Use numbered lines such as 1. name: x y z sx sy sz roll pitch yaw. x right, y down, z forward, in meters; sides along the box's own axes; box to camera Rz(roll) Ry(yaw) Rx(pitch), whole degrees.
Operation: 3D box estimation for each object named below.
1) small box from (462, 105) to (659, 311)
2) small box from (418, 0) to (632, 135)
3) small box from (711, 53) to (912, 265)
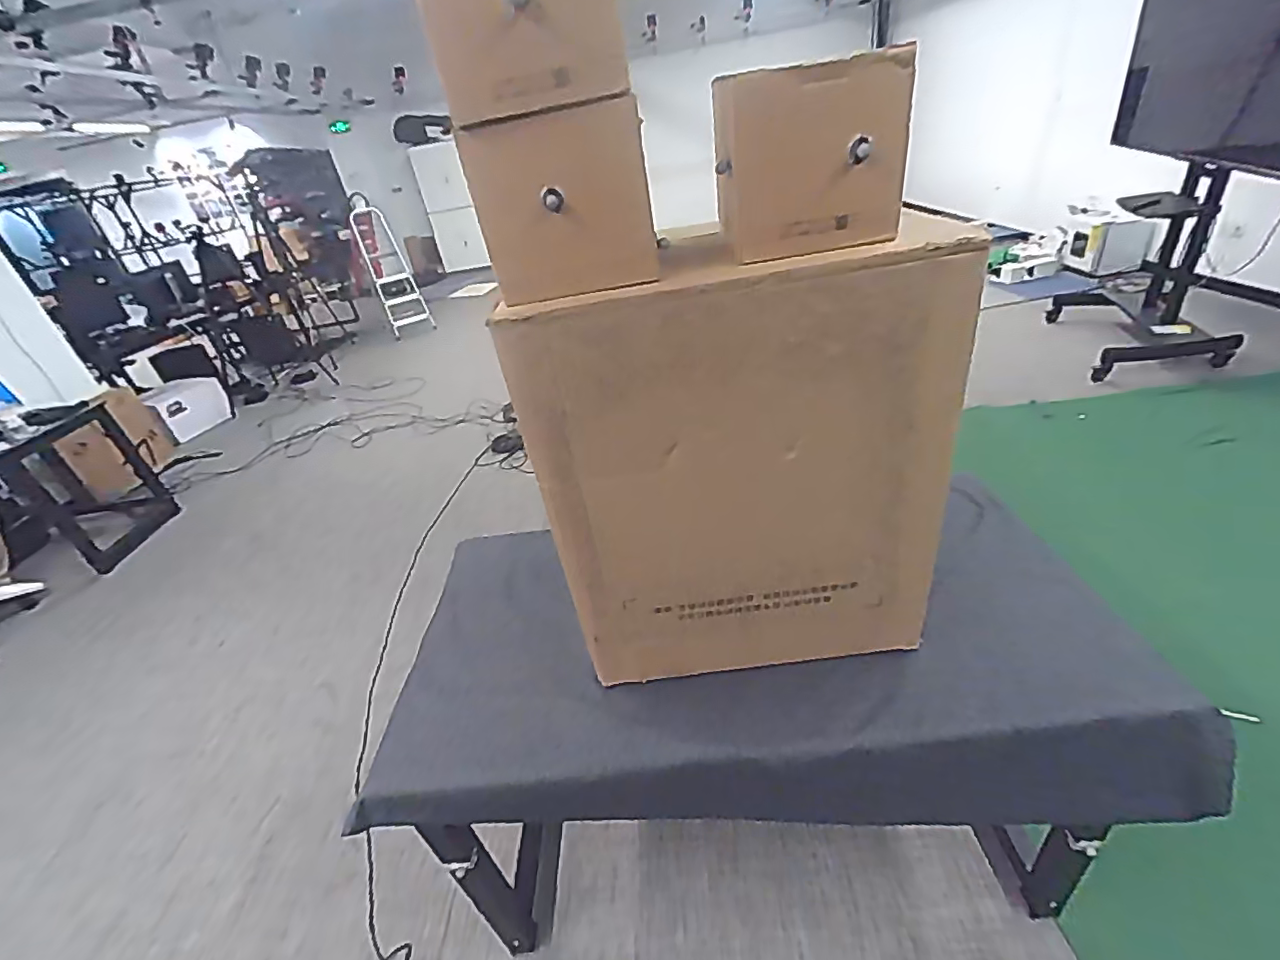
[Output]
1. small box: -0.074 -0.305 0.604 0.179 0.176 0.168 -9 35 1
2. small box: -0.104 -0.438 0.513 0.168 0.176 0.179 -10 35 2
3. small box: 0.174 -0.345 0.598 0.168 0.176 0.179 -7 33 3
